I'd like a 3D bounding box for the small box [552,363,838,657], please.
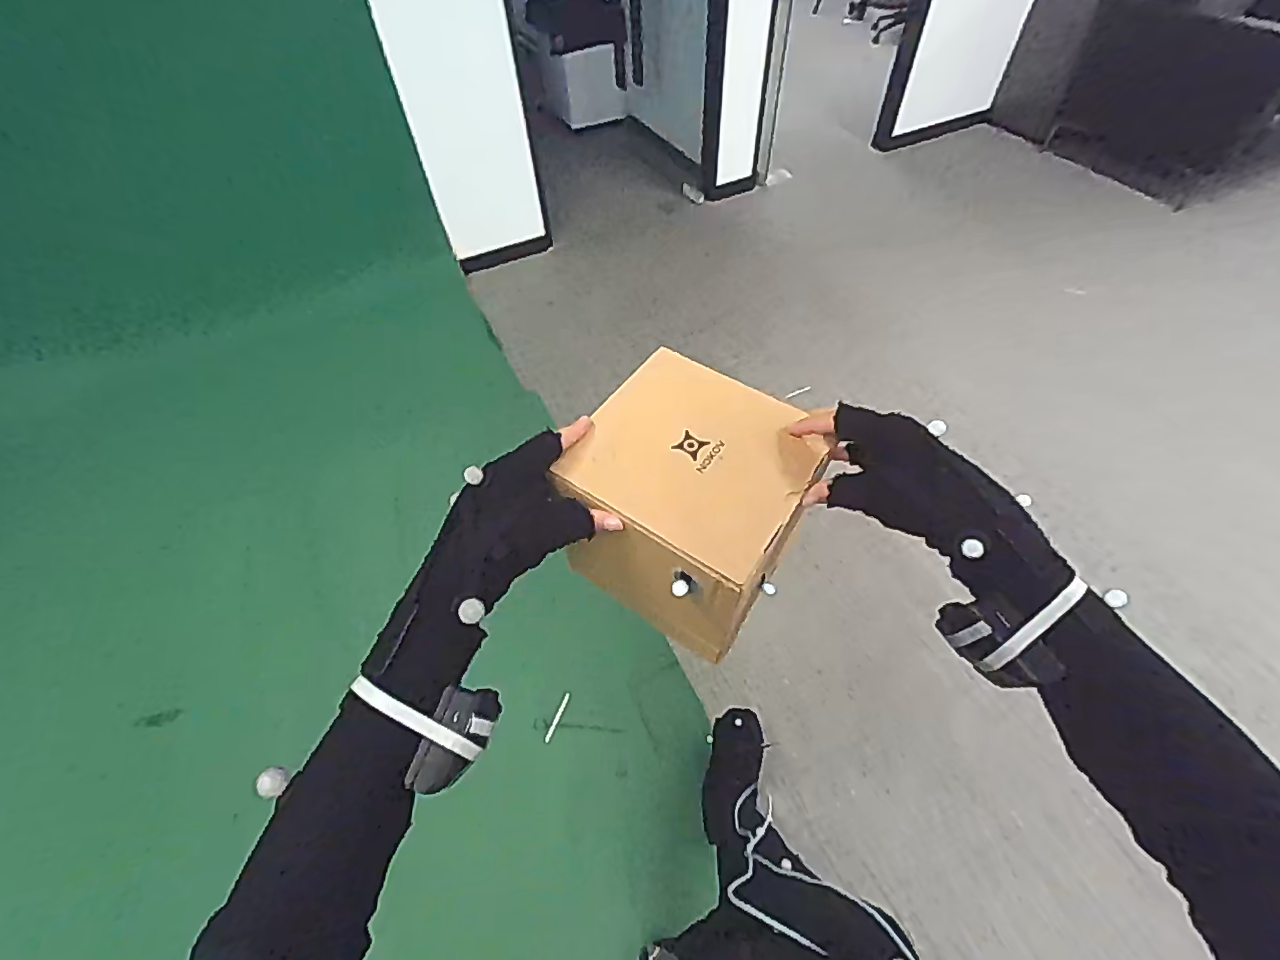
[{"bbox_3d":[0.045,0.031,0.494,0.179,0.176,0.168,31,59,20],"label":"small box"}]
